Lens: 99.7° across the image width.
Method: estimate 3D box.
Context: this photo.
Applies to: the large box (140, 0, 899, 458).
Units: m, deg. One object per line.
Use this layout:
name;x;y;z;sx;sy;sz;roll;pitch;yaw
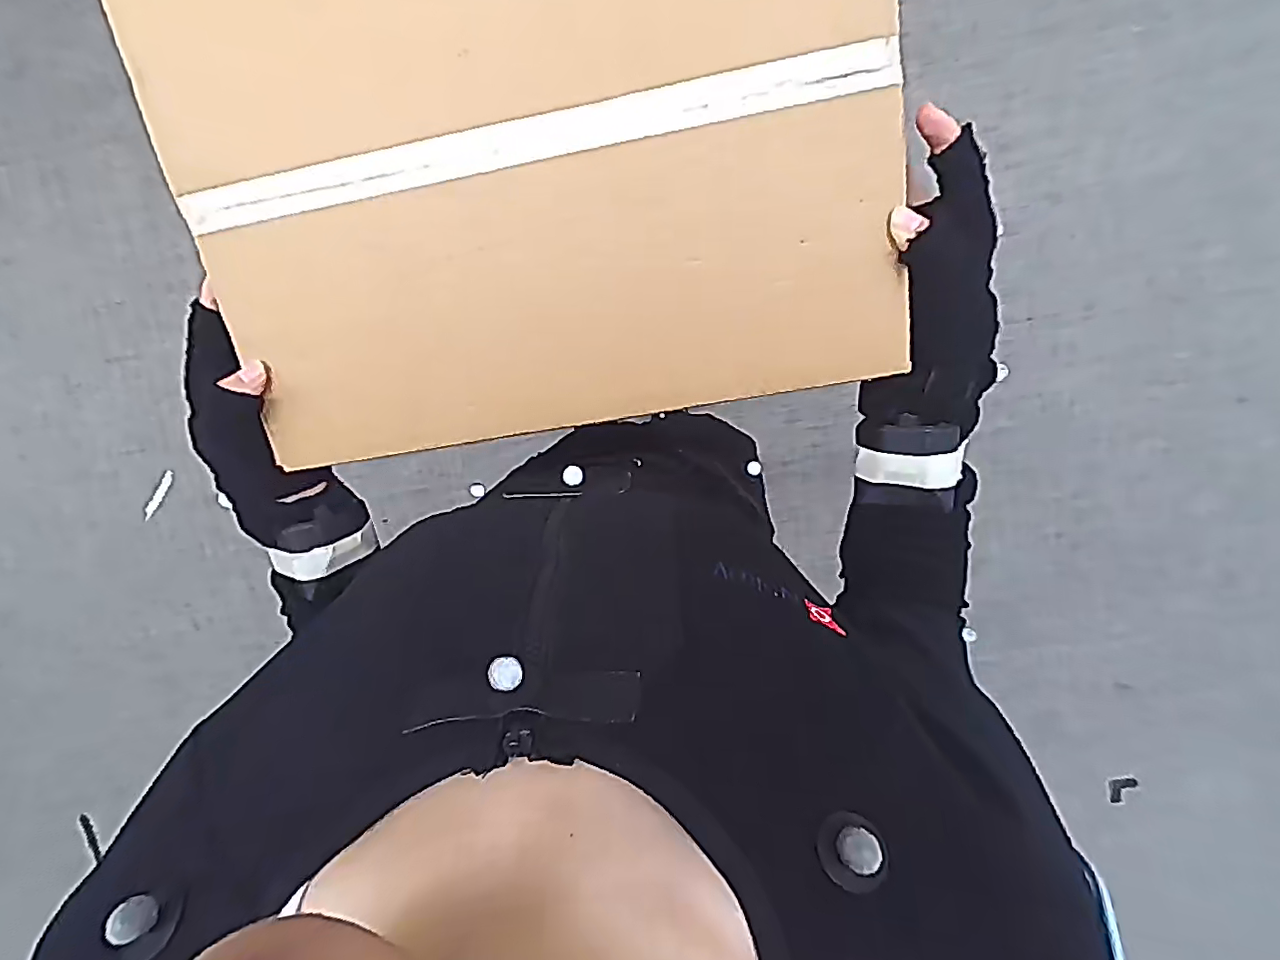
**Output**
large box;-0.056;-0.231;0.452;0.408;0.320;0.320;-9;107;6
